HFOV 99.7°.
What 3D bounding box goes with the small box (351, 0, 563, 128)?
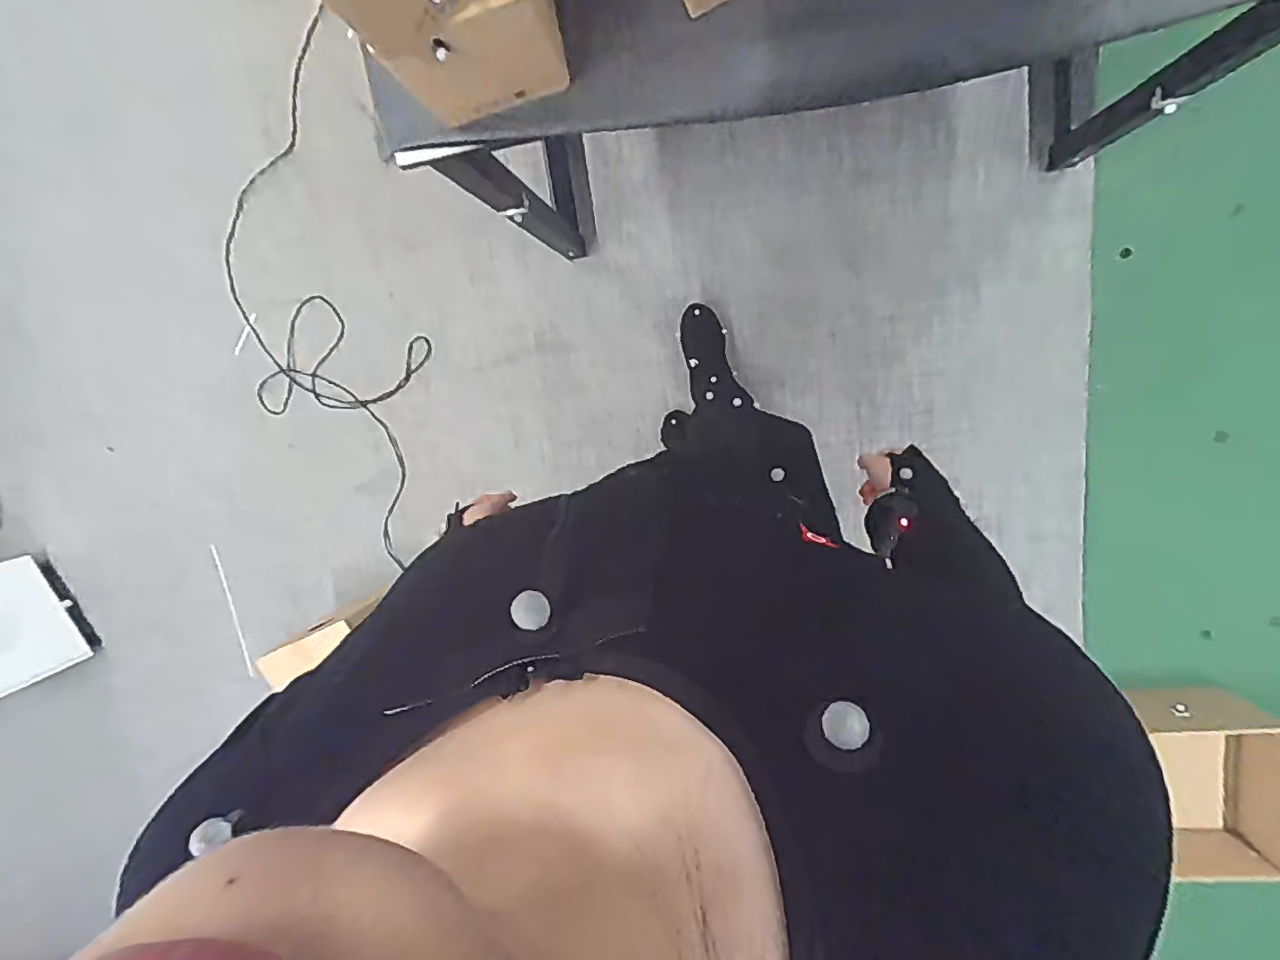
[{"bbox_3d":[-0.198,-0.528,0.585,0.168,0.176,0.179,-11,99,10],"label":"small box"}]
